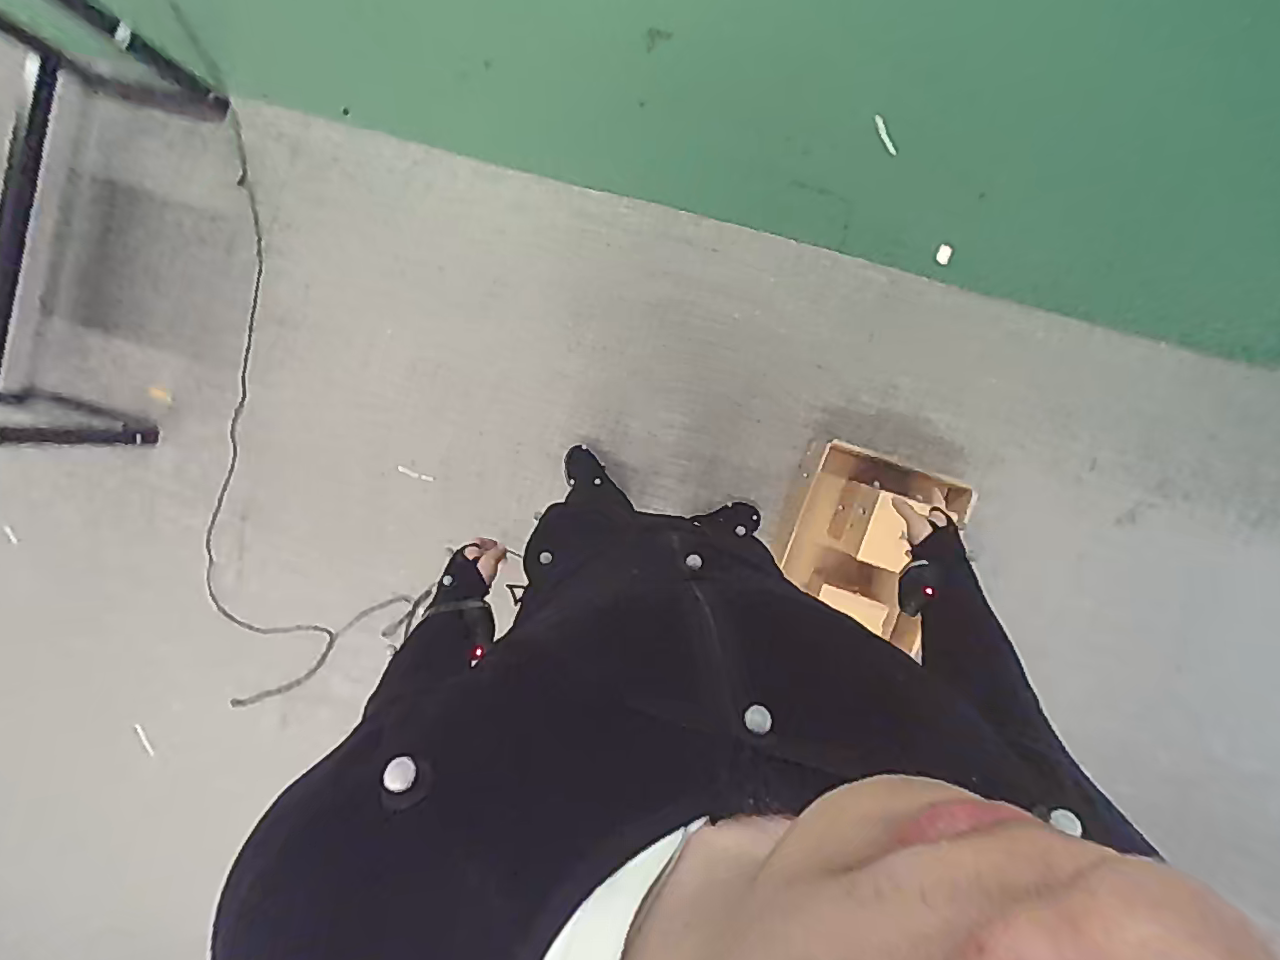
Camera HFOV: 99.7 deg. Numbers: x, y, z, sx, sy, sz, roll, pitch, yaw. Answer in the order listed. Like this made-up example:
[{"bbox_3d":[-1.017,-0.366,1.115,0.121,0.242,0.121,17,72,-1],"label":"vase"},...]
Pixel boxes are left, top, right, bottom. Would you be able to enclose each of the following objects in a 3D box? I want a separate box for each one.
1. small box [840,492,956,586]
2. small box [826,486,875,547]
[{"bbox_3d":[0.595,0.130,1.274,0.179,0.176,0.168,18,95,5],"label":"small box"},{"bbox_3d":[0.616,0.118,1.435,0.179,0.176,0.168,19,96,5],"label":"small box"}]
